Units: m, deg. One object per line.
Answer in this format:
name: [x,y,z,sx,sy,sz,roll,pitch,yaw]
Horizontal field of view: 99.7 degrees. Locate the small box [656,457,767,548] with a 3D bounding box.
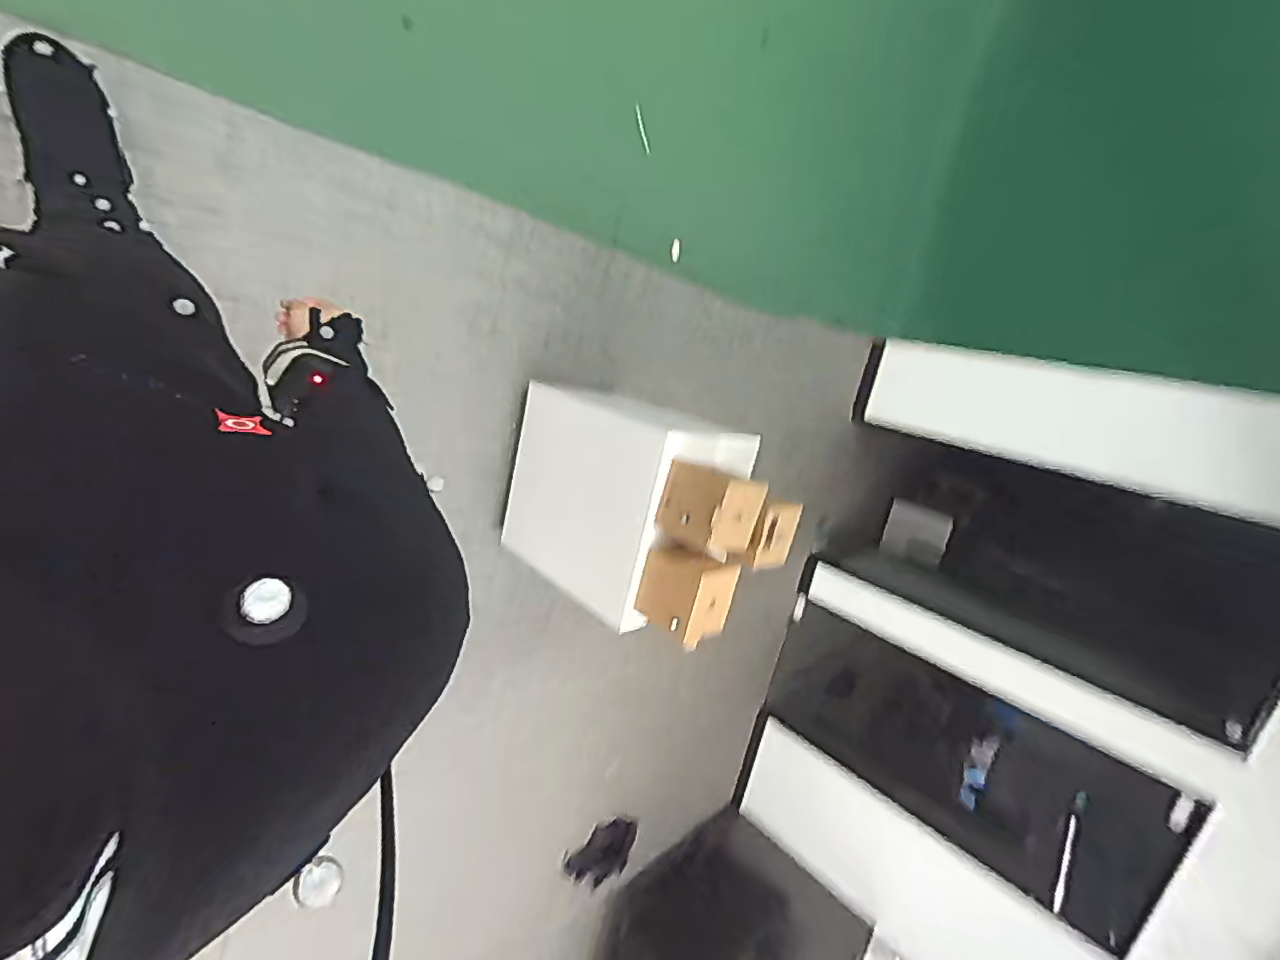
small box: [0.164,0.050,1.271,0.179,0.176,0.168,3,107,-50]
